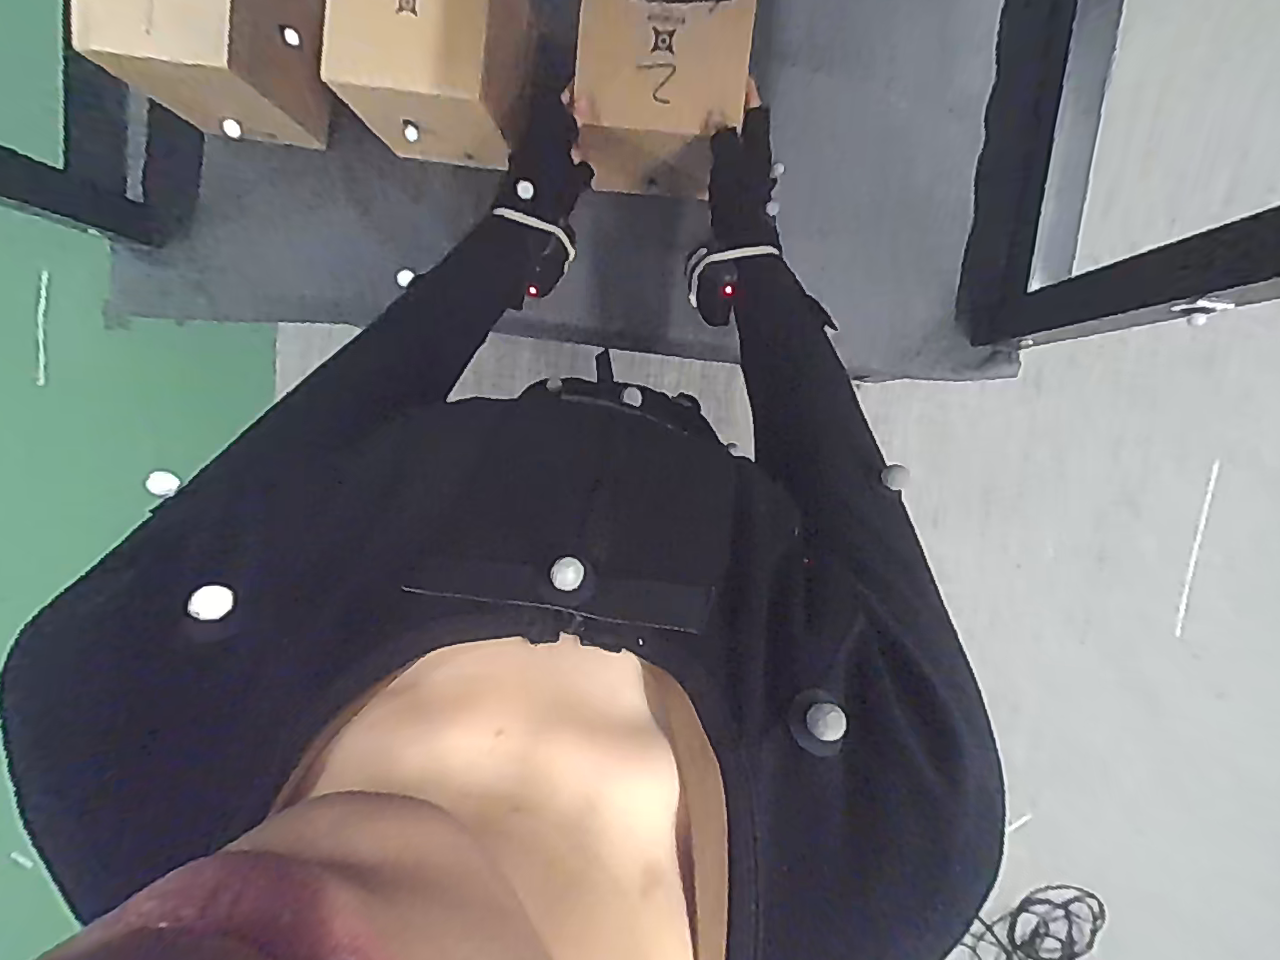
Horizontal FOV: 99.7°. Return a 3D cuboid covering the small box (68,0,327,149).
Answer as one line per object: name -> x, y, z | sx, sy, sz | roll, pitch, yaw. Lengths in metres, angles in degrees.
small box -> -0.480, -0.518, 0.615 | 0.168, 0.176, 0.179 | 8, 97, 1

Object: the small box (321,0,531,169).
small box -> -0.229, -0.485, 0.615 | 0.168, 0.176, 0.179 | 8, 96, 0
